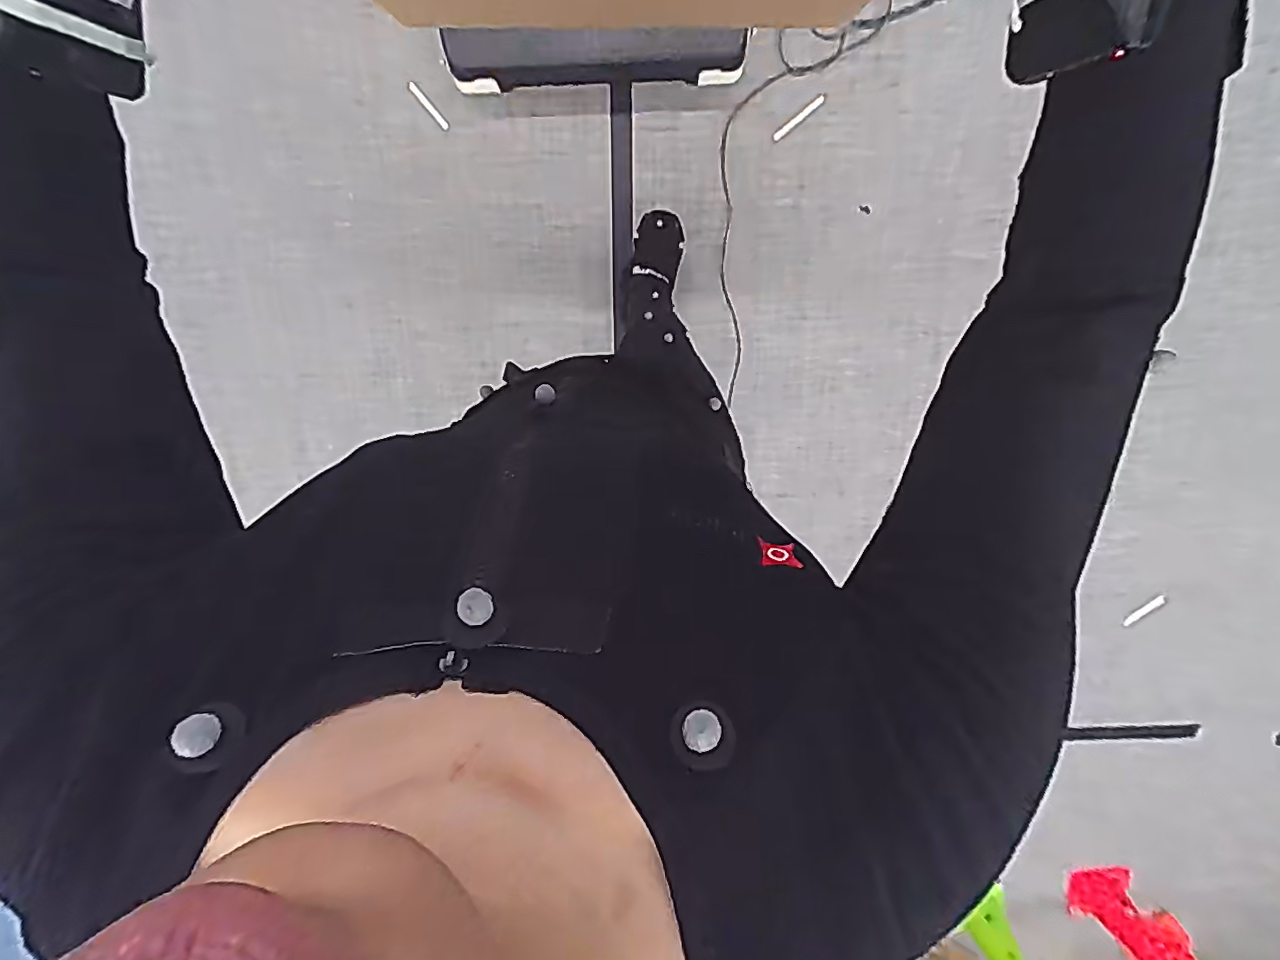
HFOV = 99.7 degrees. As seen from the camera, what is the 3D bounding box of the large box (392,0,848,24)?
[{"bbox_3d":[-0.015,-0.492,0.289,0.408,0.320,0.320,-1,116,0],"label":"large box"}]
